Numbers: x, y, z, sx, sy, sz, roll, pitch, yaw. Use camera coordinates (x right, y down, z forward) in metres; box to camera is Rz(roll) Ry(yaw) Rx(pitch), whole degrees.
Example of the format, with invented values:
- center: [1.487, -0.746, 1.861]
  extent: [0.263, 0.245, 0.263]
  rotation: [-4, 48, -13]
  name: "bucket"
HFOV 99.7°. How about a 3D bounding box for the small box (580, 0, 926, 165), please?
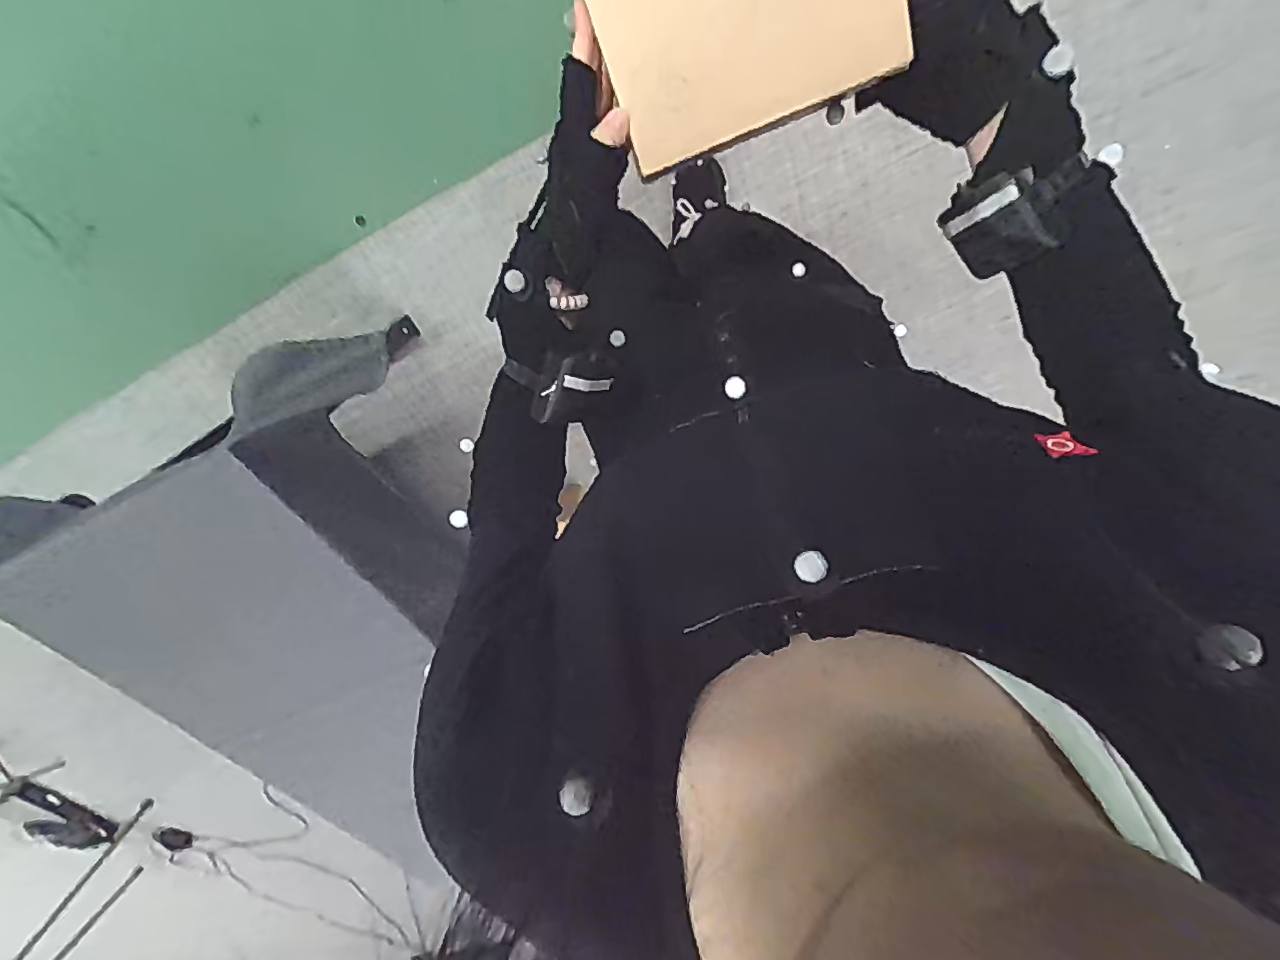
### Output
- center: [0.050, -0.329, 0.354]
  extent: [0.179, 0.176, 0.168]
  rotation: [-20, 115, 7]
  name: "small box"
